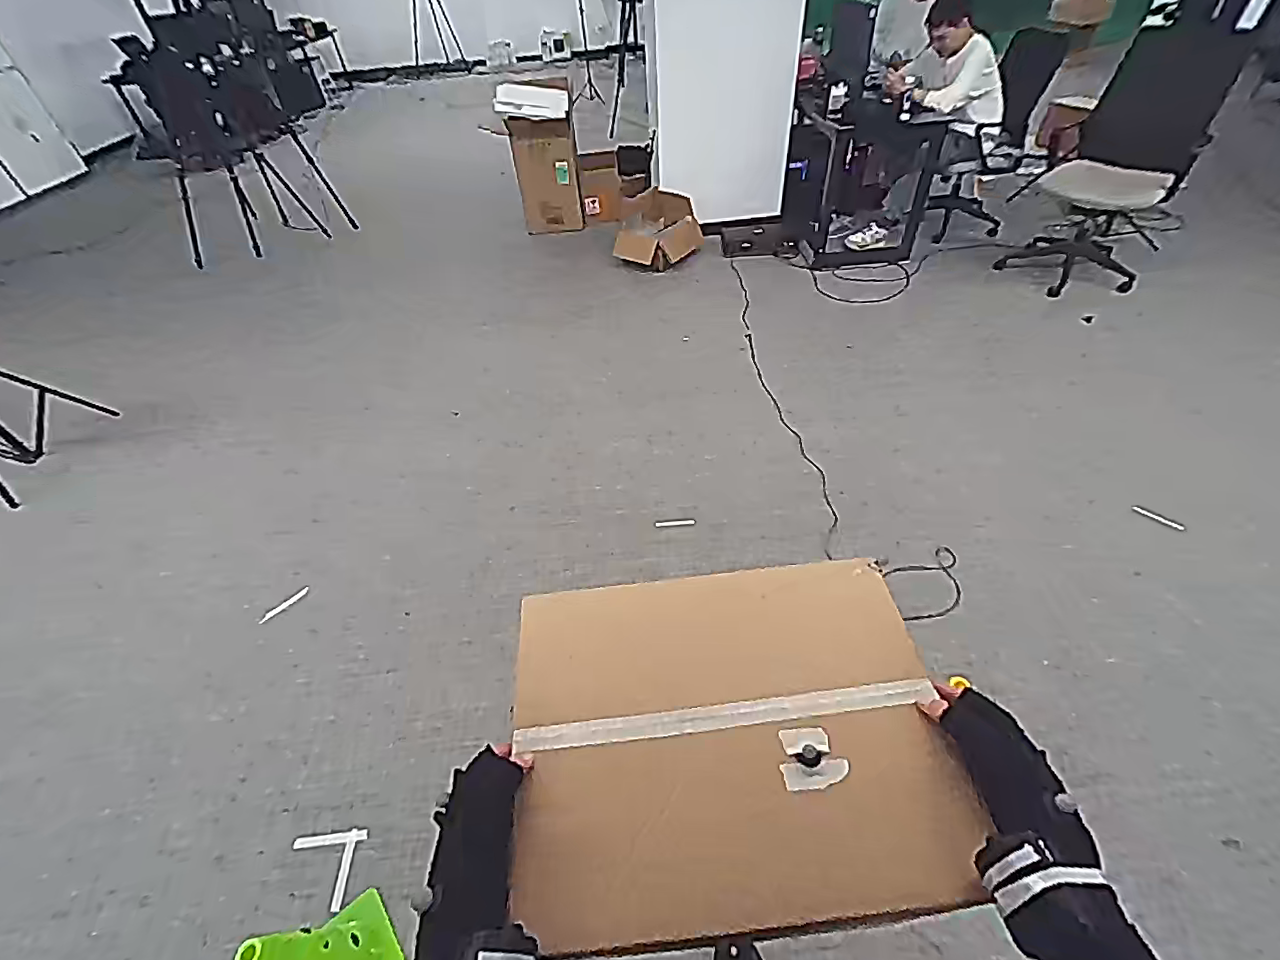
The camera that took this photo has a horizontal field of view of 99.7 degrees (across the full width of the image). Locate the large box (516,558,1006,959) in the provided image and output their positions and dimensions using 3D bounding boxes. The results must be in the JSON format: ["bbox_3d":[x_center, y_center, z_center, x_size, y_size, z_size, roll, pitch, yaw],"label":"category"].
[{"bbox_3d":[0.090,0.326,0.633,0.408,0.320,0.320,-7,48,-1],"label":"large box"}]

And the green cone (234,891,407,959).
[{"bbox_3d":[-0.622,0.898,1.004,0.202,0.368,0.200,-35,51,-24],"label":"green cone"}]
